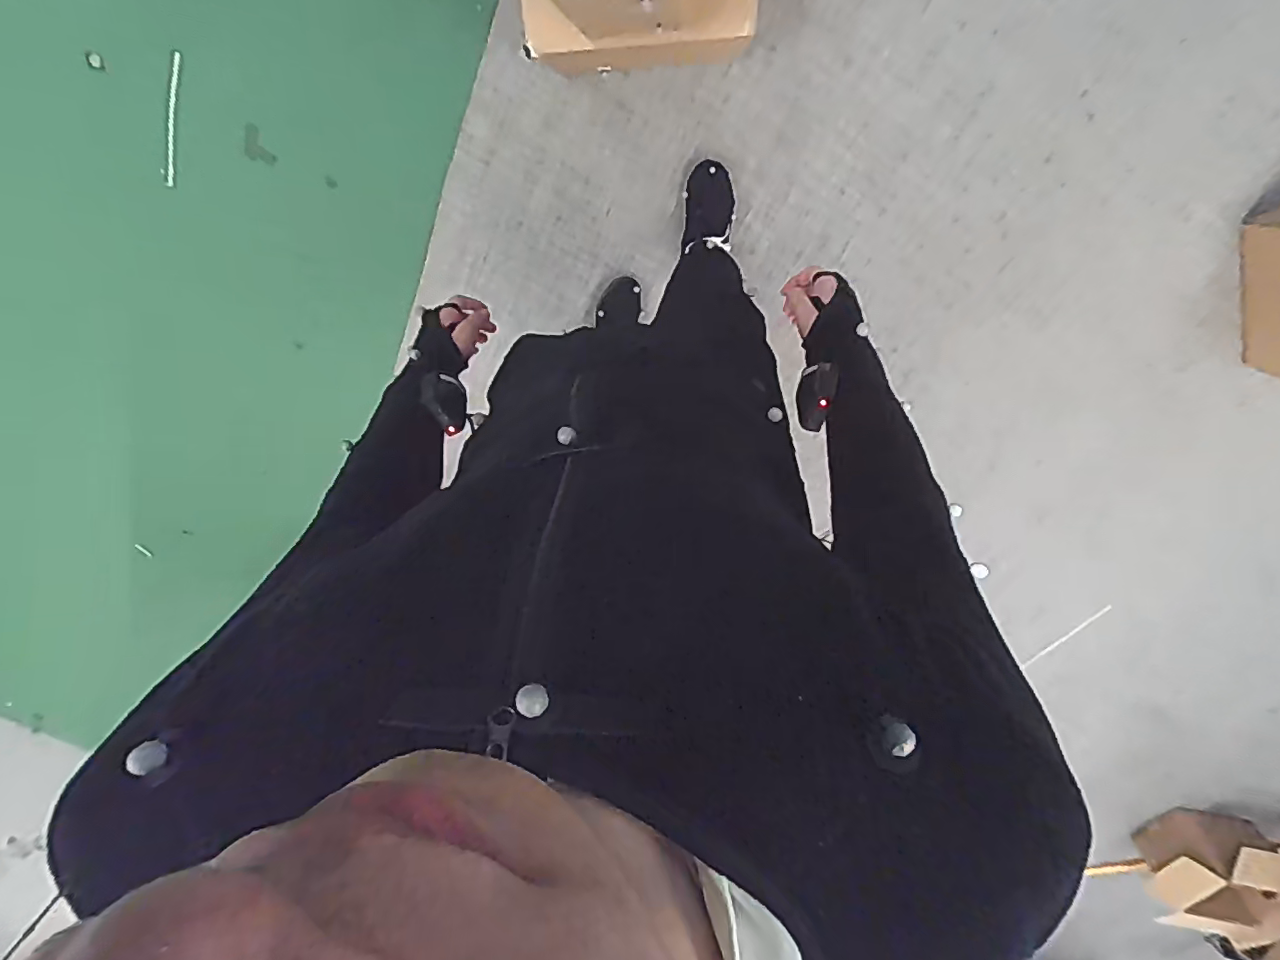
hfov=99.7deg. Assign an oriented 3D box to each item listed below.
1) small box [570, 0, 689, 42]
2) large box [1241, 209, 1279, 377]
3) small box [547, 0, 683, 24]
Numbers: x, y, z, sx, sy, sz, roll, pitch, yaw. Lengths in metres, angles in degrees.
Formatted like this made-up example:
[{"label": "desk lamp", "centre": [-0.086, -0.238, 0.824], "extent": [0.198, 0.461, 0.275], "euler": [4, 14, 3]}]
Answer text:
[{"label": "small box", "centre": [-0.015, -0.788, 0.822], "extent": [0.179, 0.176, 0.168], "euler": [0, 122, 6]}, {"label": "large box", "centre": [1.639, -0.435, 1.185], "extent": [0.320, 0.320, 0.408], "euler": [-25, 115, 18]}, {"label": "small box", "centre": [-0.028, -0.700, 0.684], "extent": [0.179, 0.176, 0.168], "euler": [1, 121, 4]}]
